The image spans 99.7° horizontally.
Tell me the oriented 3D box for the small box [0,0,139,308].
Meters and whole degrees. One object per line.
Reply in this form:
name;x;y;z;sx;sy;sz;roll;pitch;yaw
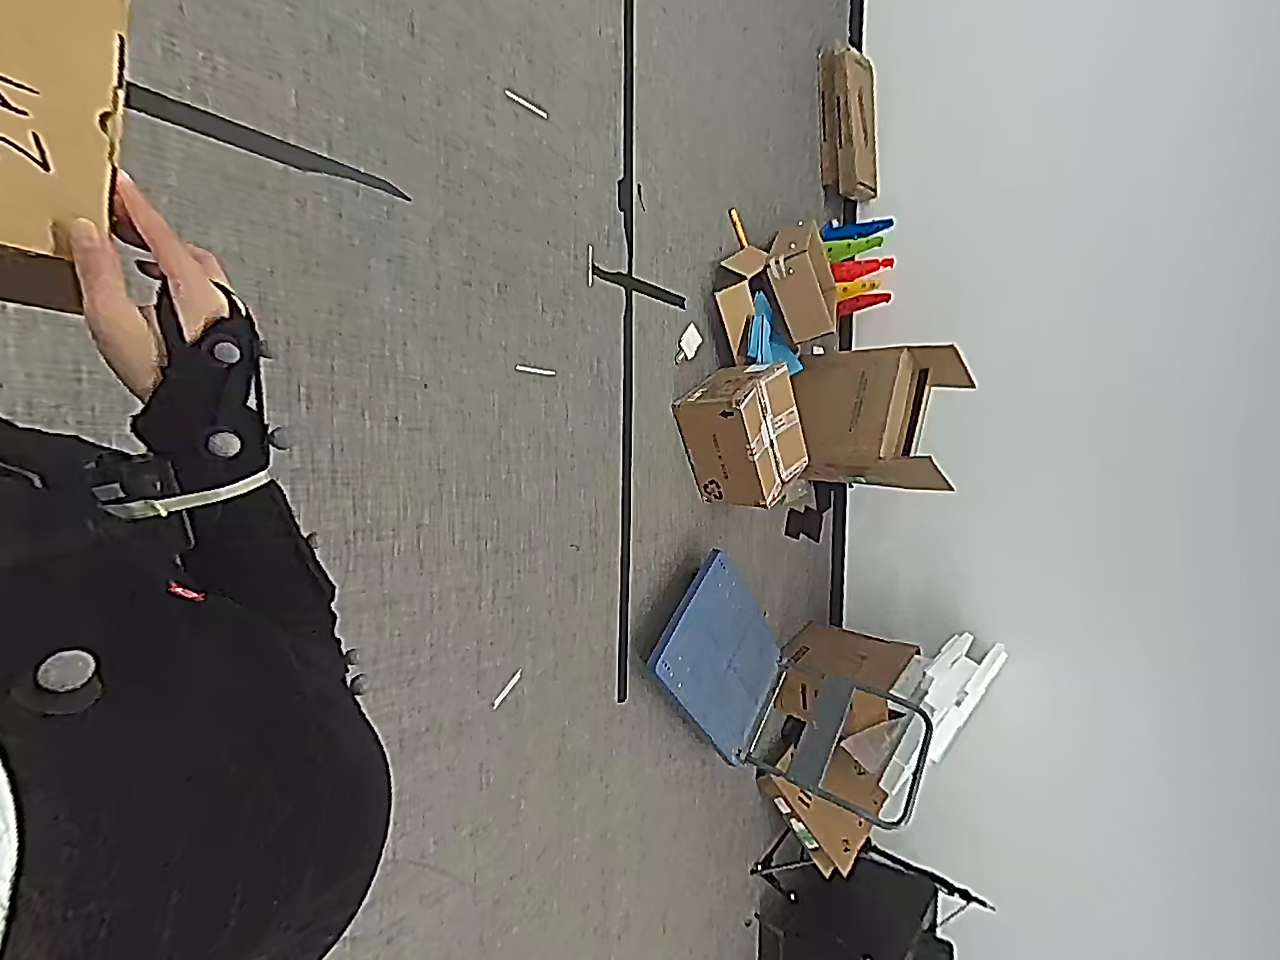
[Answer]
small box;-0.409;-0.207;0.300;0.179;0.176;0.168;4;90;-47
